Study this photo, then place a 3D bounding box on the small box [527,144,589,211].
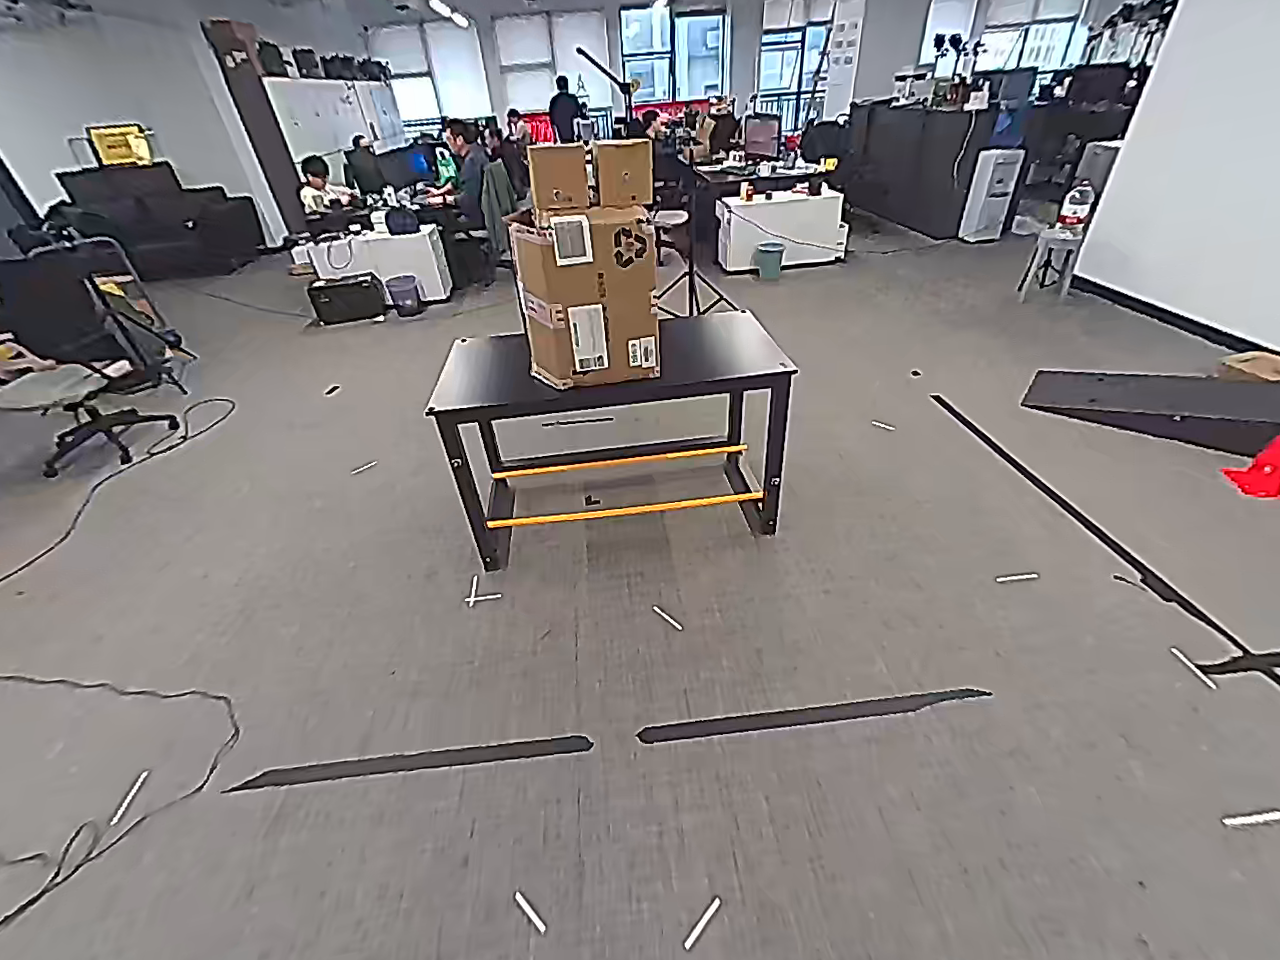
[{"bbox_3d":[-0.259,-0.949,1.697,0.168,0.176,0.179,-10,35,-9],"label":"small box"}]
